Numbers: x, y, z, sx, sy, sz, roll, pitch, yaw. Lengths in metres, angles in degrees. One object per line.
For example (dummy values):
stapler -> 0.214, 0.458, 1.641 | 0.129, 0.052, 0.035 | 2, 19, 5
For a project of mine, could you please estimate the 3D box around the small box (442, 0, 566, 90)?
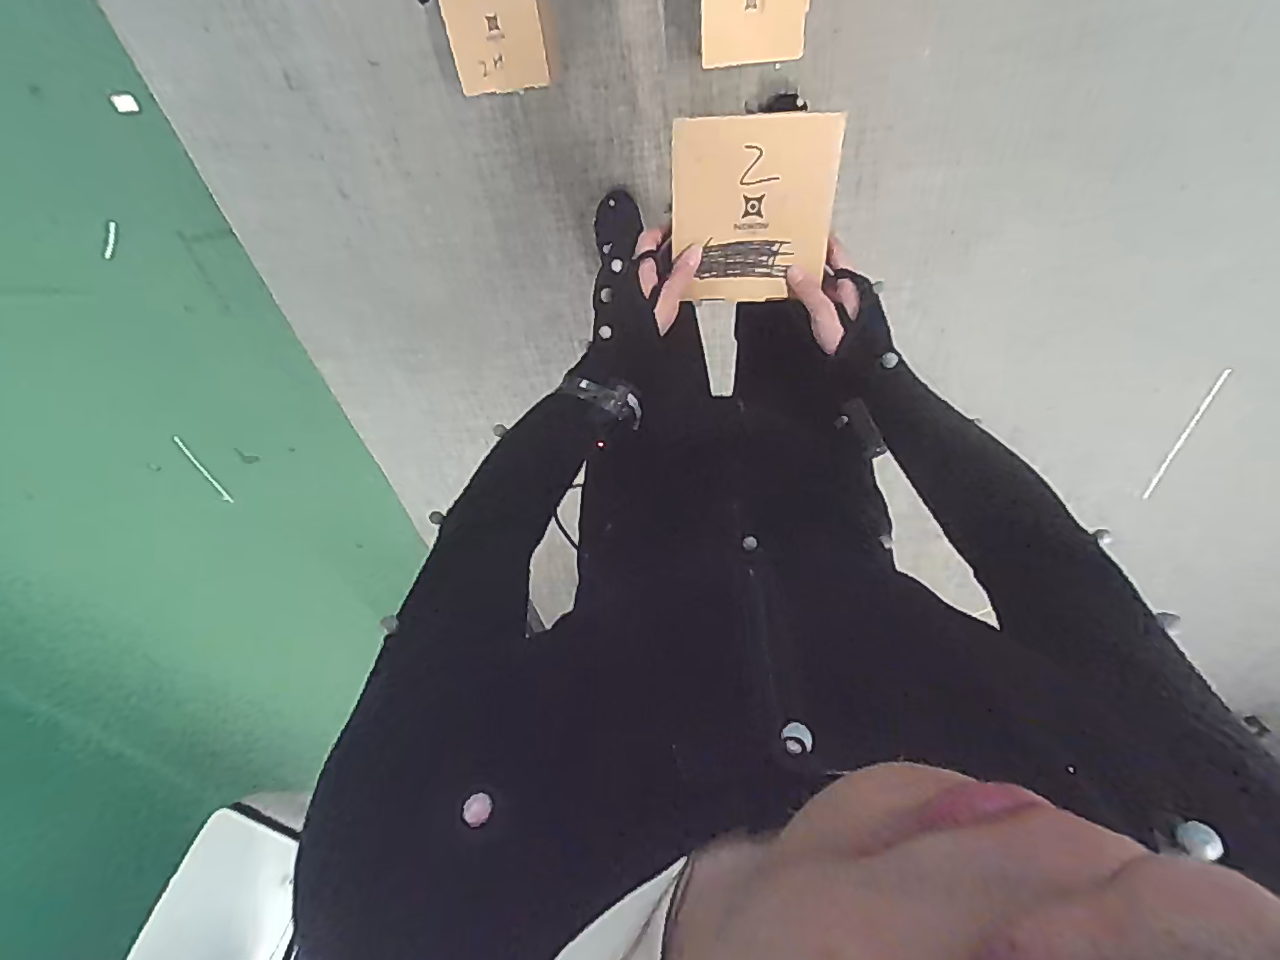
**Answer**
small box -> -0.238, -0.822, 0.967 | 0.168, 0.176, 0.179 | -2, 132, 7

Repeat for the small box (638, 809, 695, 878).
small box -> 0.097, 1.258, 1.878 | 0.179, 0.176, 0.168 | -6, 132, 10

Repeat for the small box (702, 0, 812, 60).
small box -> 0.194, -0.832, 0.921 | 0.179, 0.176, 0.168 | -2, 132, 6
